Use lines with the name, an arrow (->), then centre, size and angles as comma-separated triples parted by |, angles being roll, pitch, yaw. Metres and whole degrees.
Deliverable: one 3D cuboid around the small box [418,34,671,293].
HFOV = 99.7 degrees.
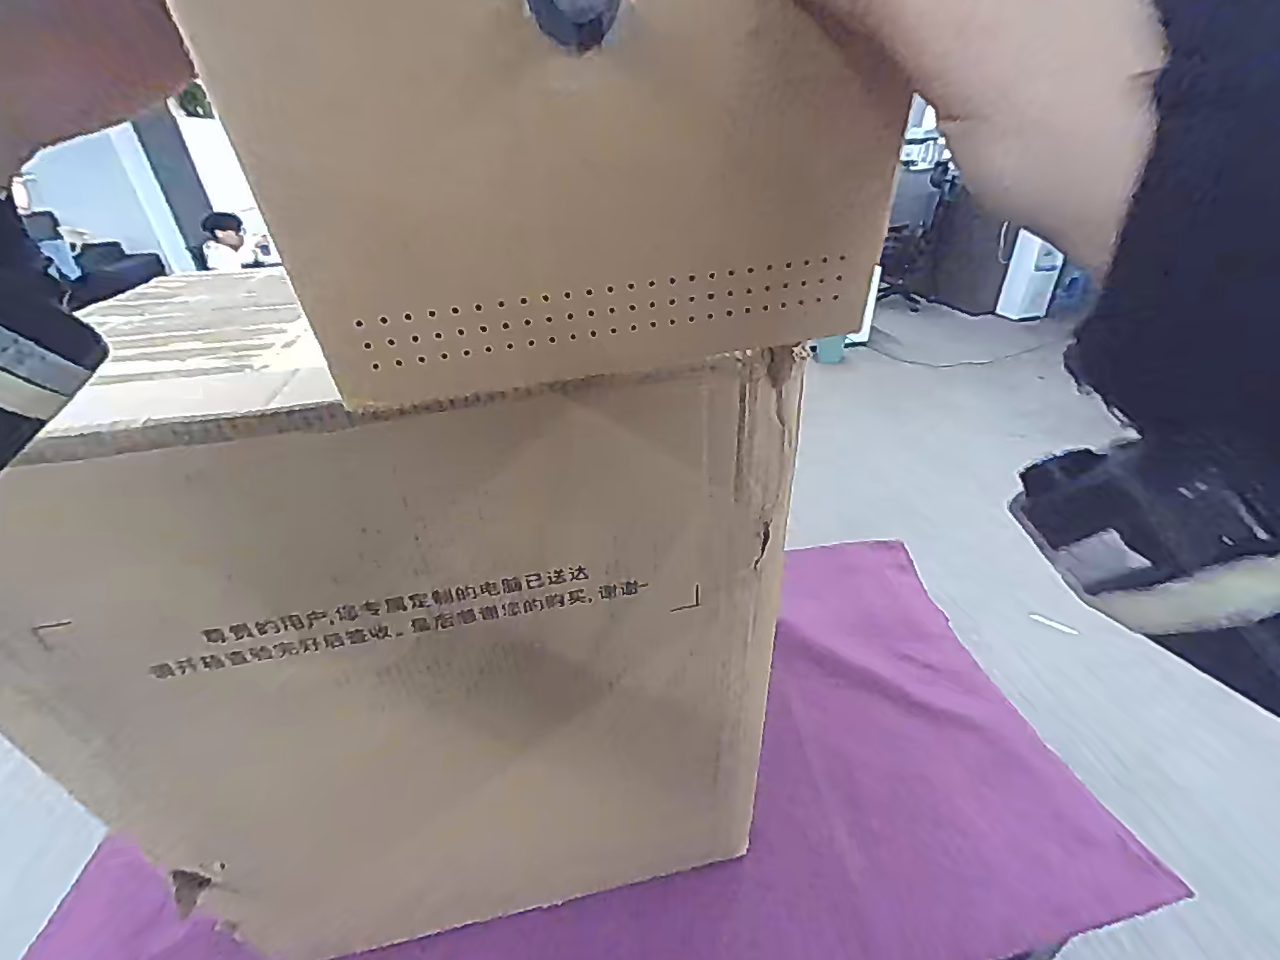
small box -> -0.075, -0.272, 0.484 | 0.179, 0.176, 0.168 | -8, 32, -8
